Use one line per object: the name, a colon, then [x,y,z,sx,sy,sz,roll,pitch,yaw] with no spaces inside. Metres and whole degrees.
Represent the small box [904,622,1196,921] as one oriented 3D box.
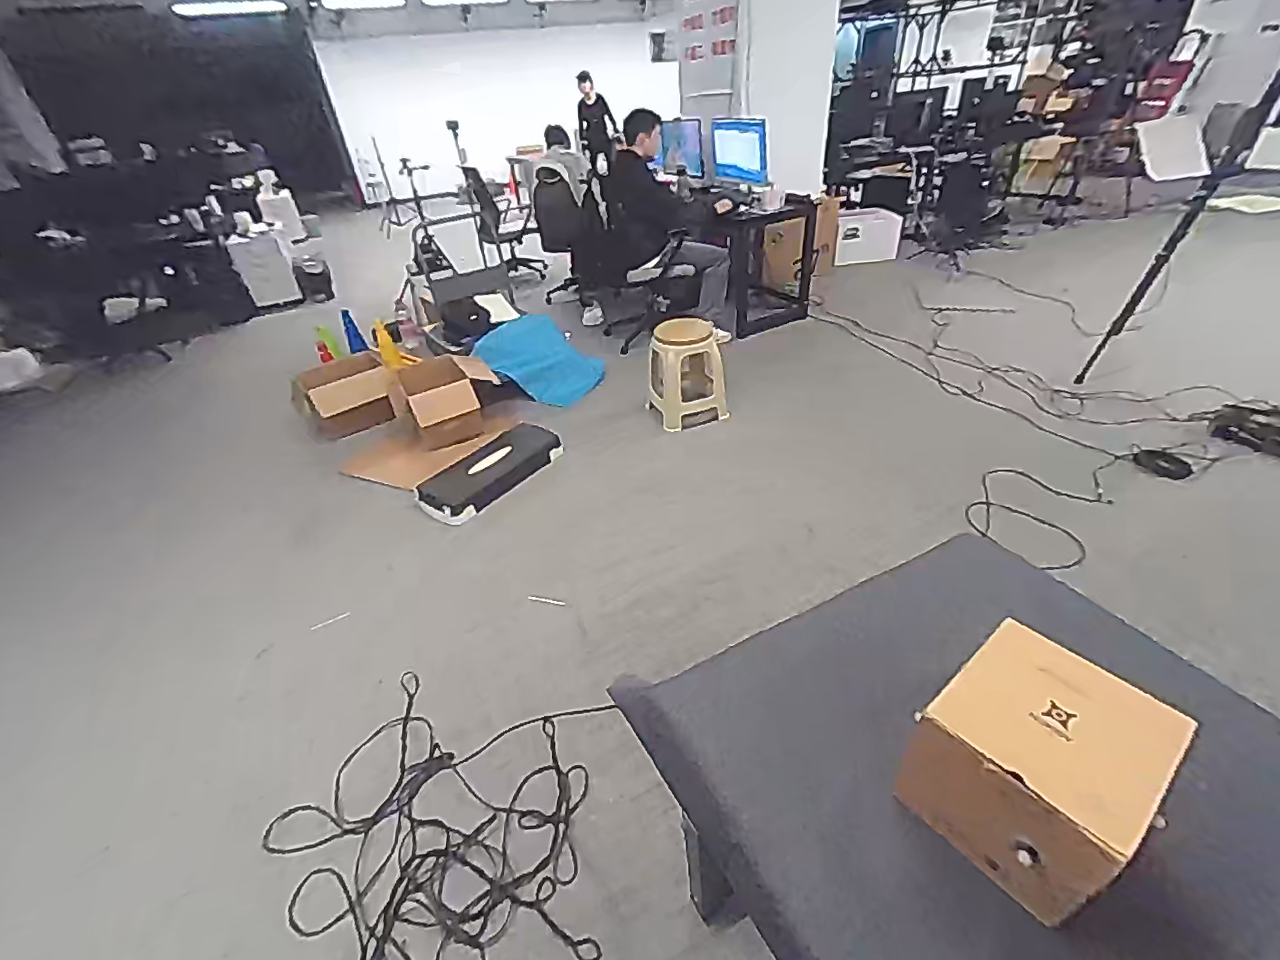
small box: [0.396,0.290,0.551,0.179,0.176,0.168,-27,42,-28]
